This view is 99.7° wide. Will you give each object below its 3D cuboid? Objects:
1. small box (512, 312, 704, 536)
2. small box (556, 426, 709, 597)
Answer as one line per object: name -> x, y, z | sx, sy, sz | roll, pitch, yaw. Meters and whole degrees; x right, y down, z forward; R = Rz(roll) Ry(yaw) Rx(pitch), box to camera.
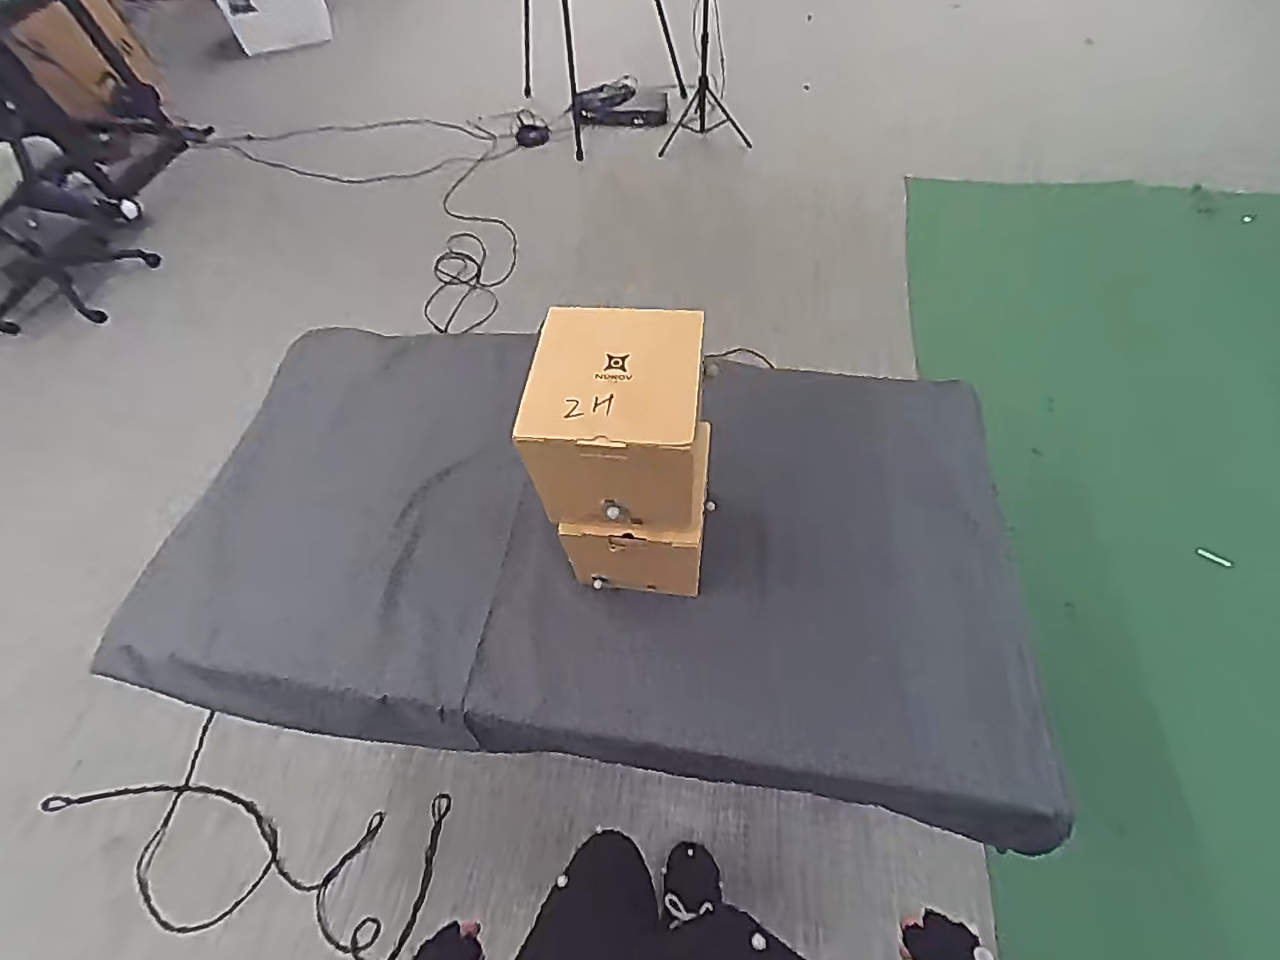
small box -> -0.021, -0.058, 0.588 | 0.168, 0.176, 0.179 | 3, 59, 7
small box -> 0.002, 0.042, 0.718 | 0.168, 0.176, 0.179 | 5, 58, 8
